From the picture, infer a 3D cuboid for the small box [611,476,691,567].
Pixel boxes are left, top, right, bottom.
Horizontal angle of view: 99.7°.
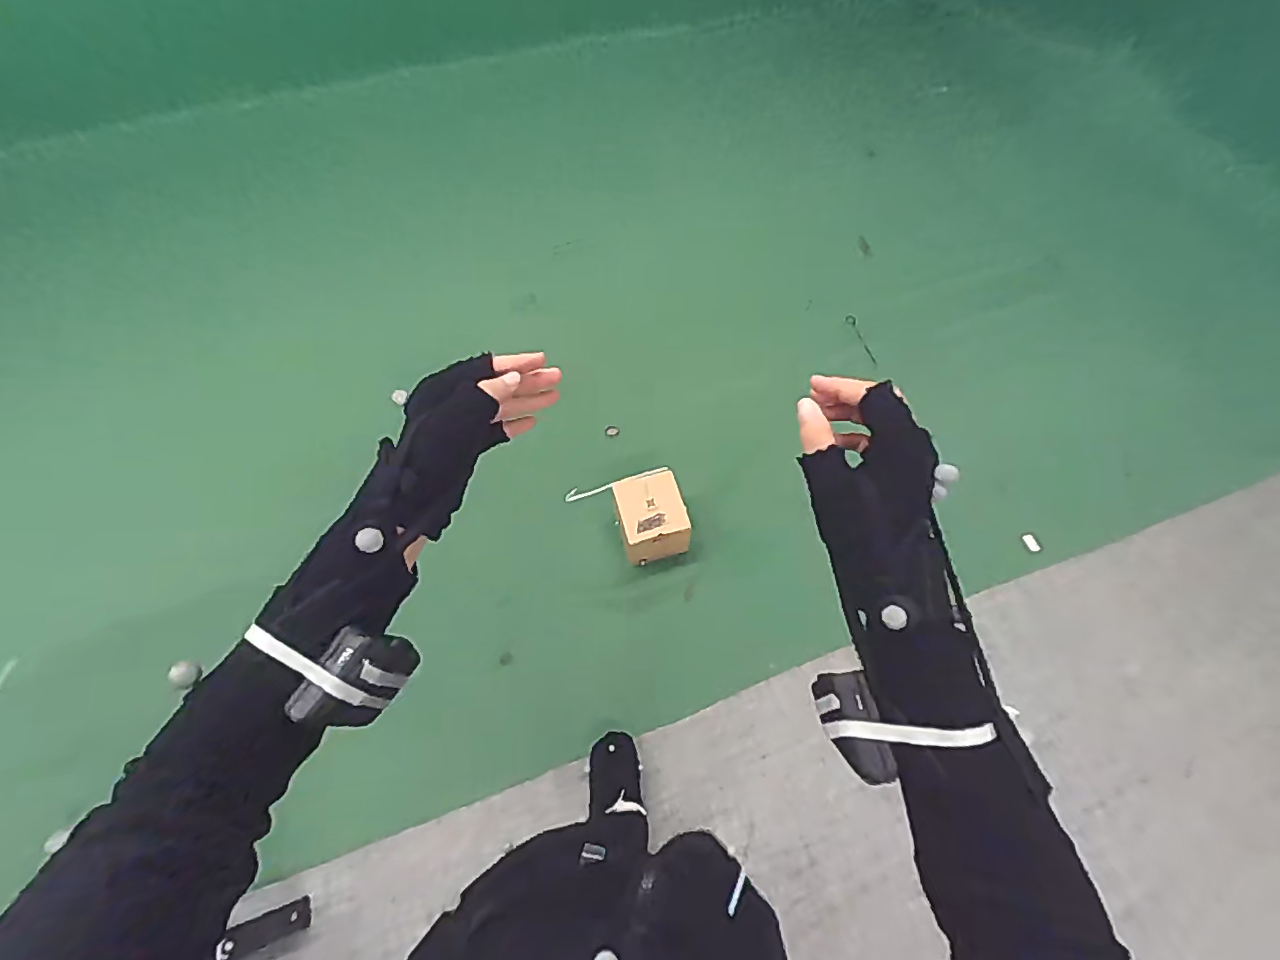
[{"bbox_3d":[0.028,0.120,1.445,0.168,0.176,0.179,-17,65,-9],"label":"small box"}]
